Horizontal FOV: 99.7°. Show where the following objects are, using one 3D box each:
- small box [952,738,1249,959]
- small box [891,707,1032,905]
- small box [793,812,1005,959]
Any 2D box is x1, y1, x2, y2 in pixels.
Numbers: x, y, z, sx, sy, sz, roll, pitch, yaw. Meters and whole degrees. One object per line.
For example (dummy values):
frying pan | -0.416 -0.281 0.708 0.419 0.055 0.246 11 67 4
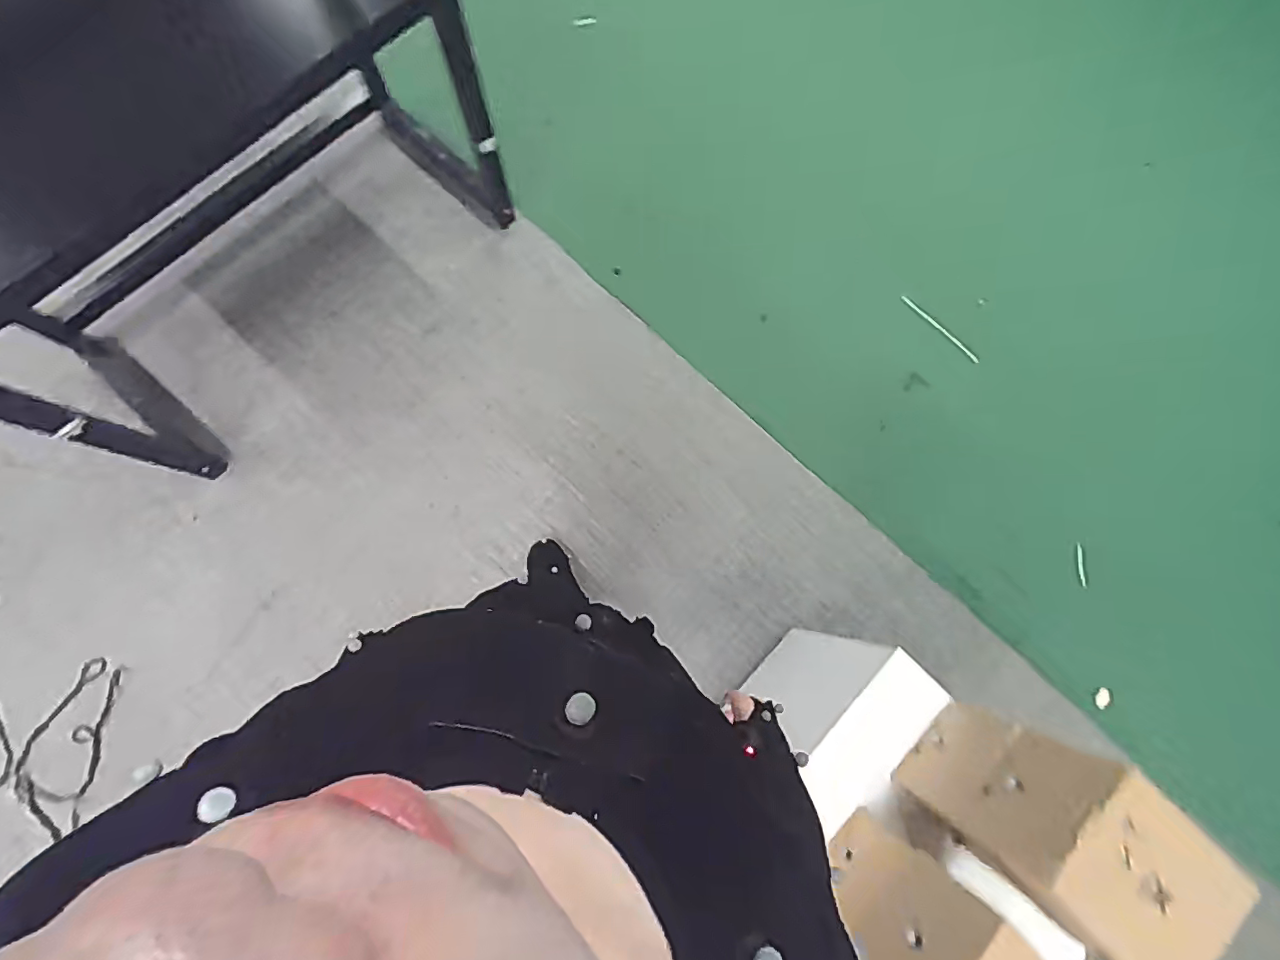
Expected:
small box | 0.535 0.452 0.656 0.168 0.176 0.179 -43 84 -9
small box | 0.528 0.476 0.818 0.168 0.176 0.179 -44 83 -9
small box | 0.357 0.629 0.779 0.168 0.176 0.179 -42 84 -11
